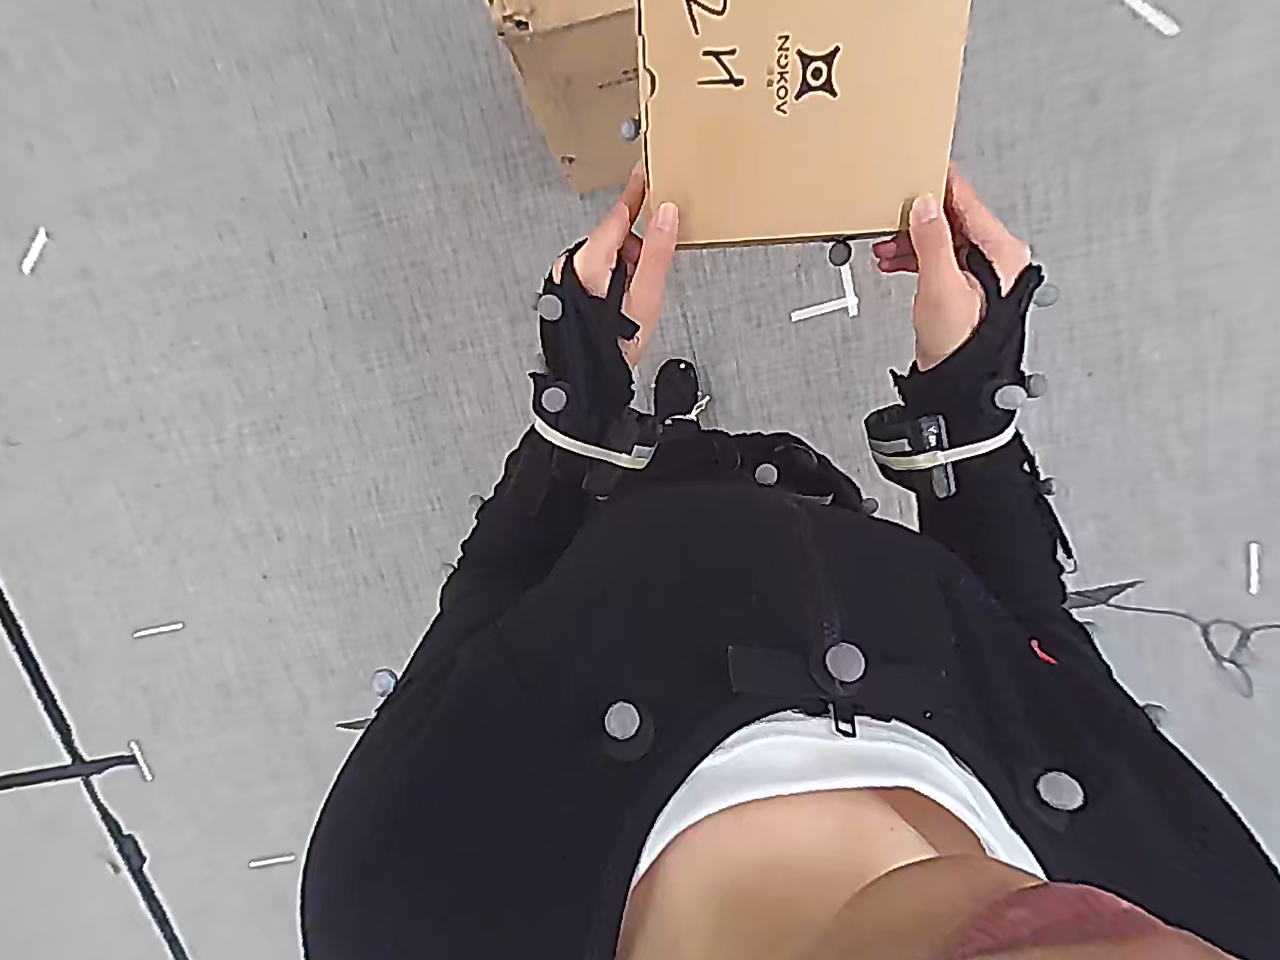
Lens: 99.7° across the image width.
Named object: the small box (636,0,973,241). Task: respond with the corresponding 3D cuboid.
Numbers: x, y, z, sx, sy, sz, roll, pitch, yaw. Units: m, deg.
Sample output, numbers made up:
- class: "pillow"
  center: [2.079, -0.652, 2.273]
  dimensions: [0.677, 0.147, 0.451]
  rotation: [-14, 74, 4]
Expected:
- class: "small box"
  center: [0.088, -0.256, 0.364]
  dimensions: [0.179, 0.176, 0.168]
  rotation: [-3, 112, 2]
